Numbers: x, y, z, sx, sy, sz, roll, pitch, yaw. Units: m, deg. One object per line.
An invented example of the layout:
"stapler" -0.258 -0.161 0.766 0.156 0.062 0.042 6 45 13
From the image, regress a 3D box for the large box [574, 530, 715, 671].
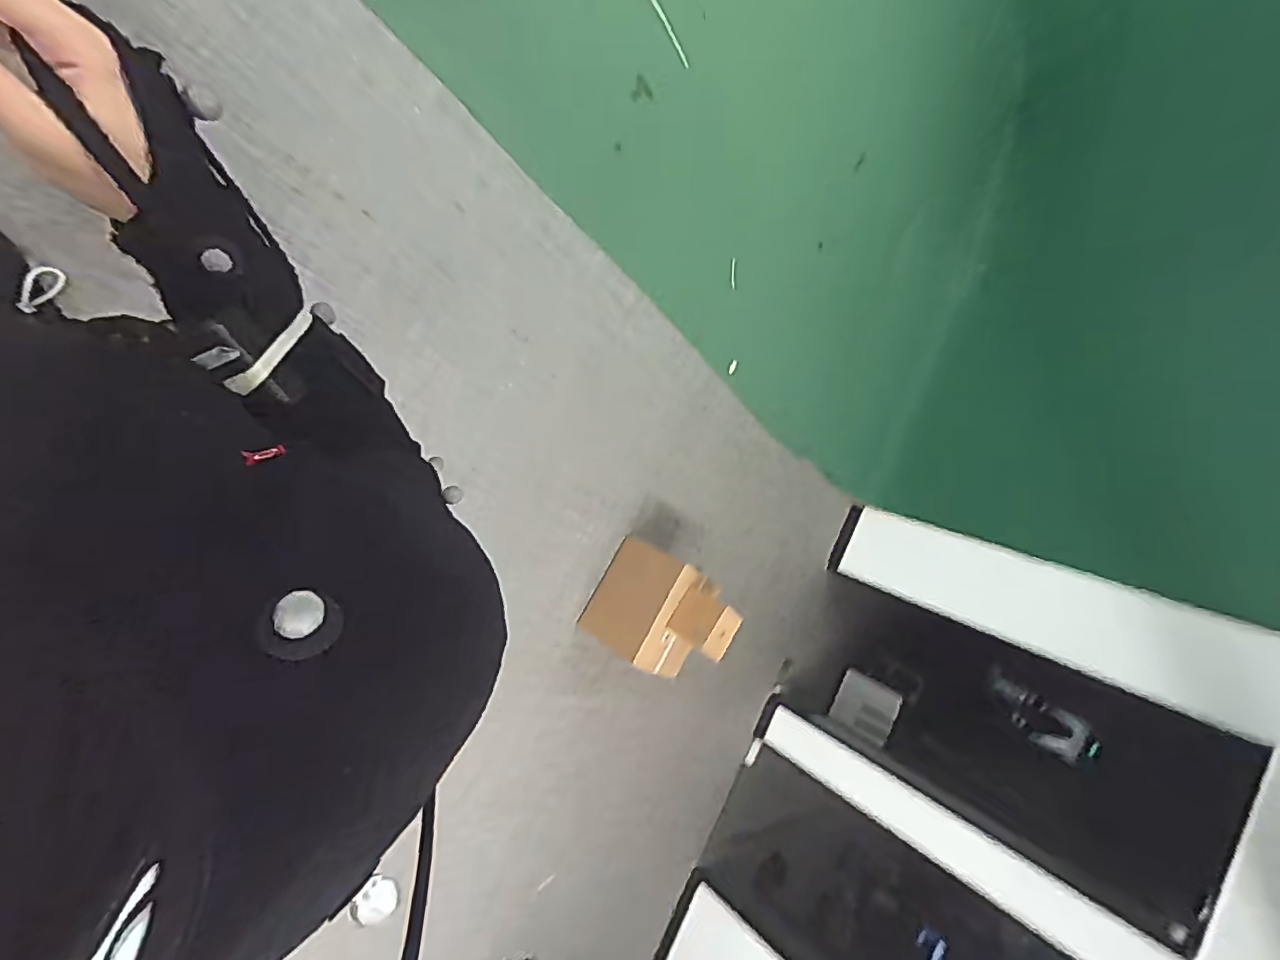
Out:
"large box" 0.021 0.464 2.099 0.320 0.320 0.408 38 79 -47

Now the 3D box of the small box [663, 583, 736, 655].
"small box" 0.214 0.496 1.948 0.179 0.176 0.168 -56 139 -12
